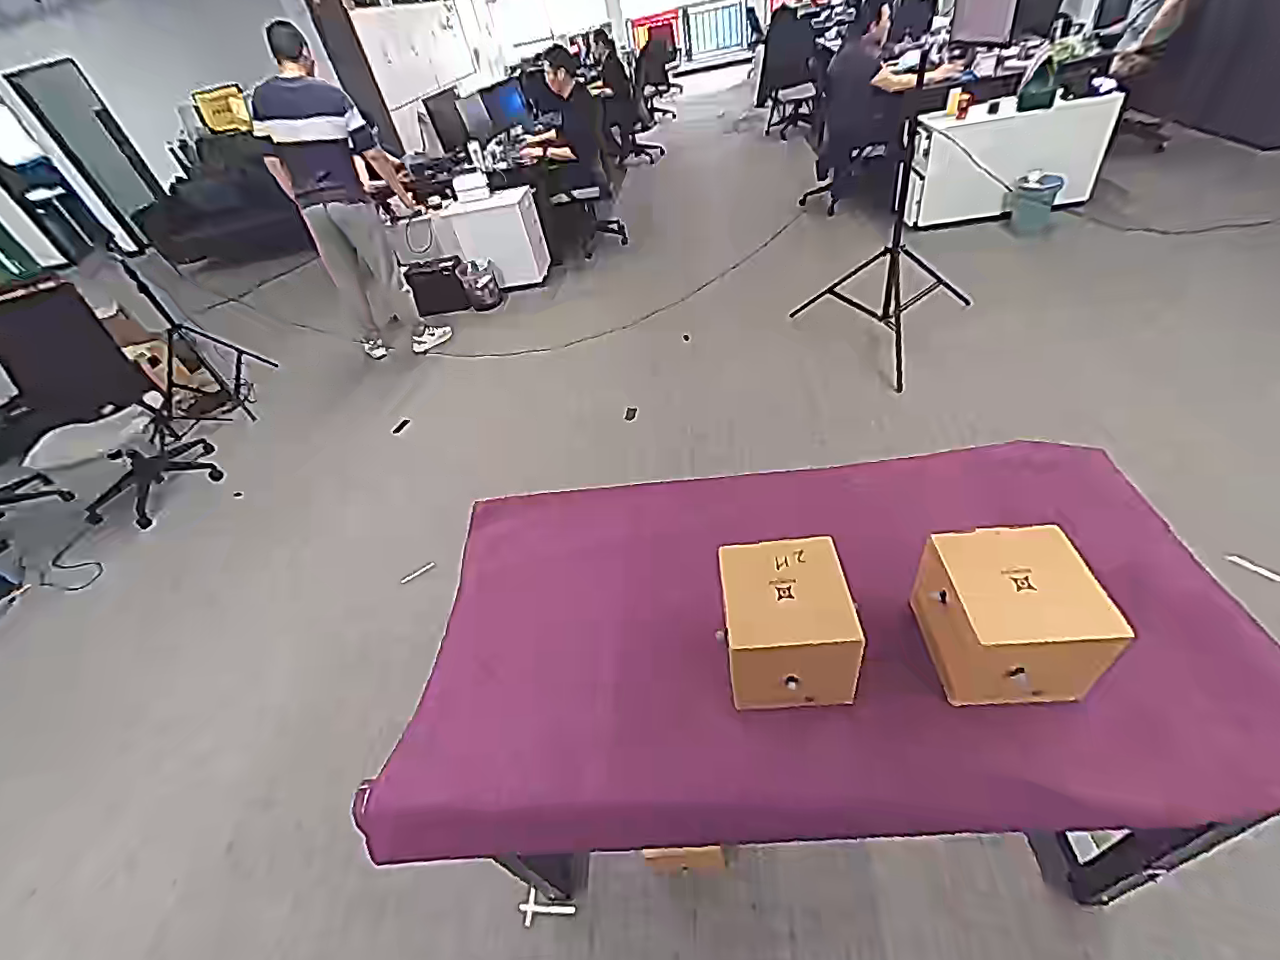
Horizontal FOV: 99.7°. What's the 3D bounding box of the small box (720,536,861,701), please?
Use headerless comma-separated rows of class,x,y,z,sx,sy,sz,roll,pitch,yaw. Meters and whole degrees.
small box,0.211,0.208,0.791,0.168,0.176,0.179,-6,41,7

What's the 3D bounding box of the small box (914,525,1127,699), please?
small box,0.498,0.187,0.742,0.168,0.176,0.179,-6,42,8
